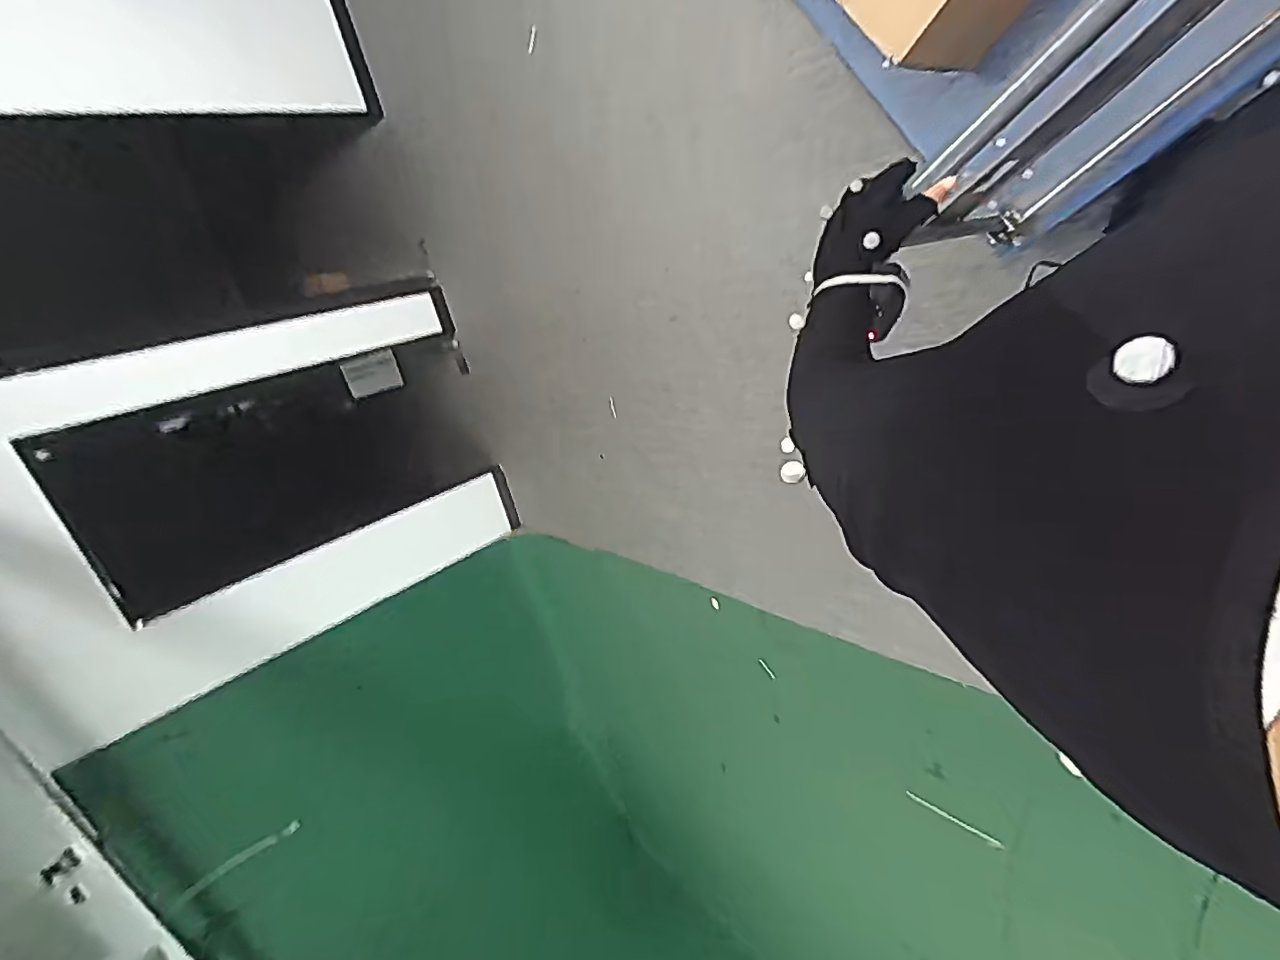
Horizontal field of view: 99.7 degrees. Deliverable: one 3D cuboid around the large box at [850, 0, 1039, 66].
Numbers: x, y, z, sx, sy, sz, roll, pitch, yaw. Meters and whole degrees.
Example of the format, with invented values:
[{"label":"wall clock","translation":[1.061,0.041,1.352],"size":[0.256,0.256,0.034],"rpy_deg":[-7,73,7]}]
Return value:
[{"label":"large box","translation":[0.520,-0.913,0.783],"size":[0.320,0.320,0.408],"rpy_deg":[56,146,9]}]
